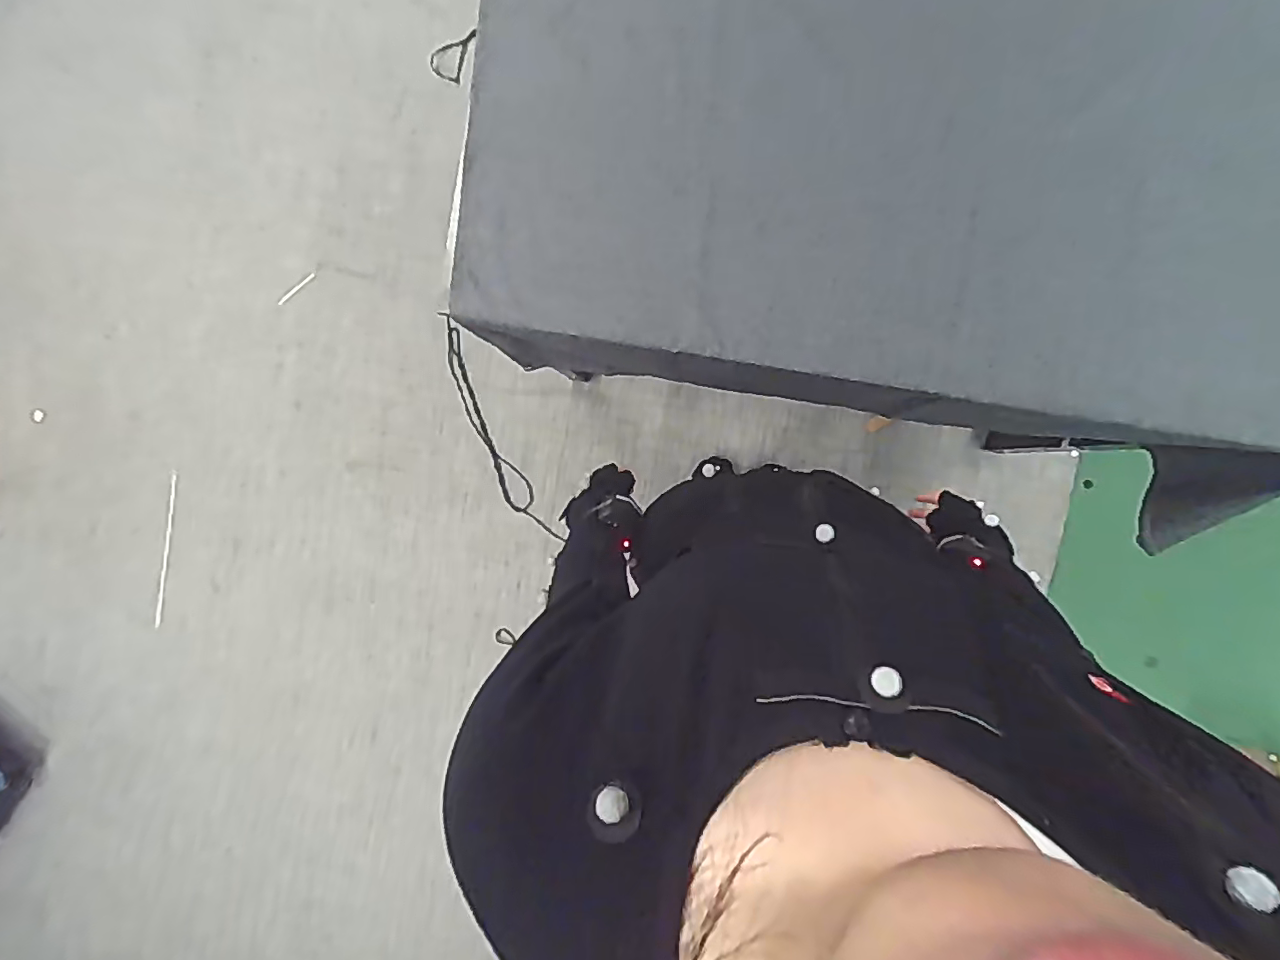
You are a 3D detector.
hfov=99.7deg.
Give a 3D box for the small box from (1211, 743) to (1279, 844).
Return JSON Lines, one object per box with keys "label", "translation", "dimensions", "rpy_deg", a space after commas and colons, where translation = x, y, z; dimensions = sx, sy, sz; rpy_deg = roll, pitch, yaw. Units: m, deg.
{"label": "small box", "translation": [1.526, 0.752, 1.272], "dimensions": [0.179, 0.176, 0.168], "rpy_deg": [15, 94, 6]}
